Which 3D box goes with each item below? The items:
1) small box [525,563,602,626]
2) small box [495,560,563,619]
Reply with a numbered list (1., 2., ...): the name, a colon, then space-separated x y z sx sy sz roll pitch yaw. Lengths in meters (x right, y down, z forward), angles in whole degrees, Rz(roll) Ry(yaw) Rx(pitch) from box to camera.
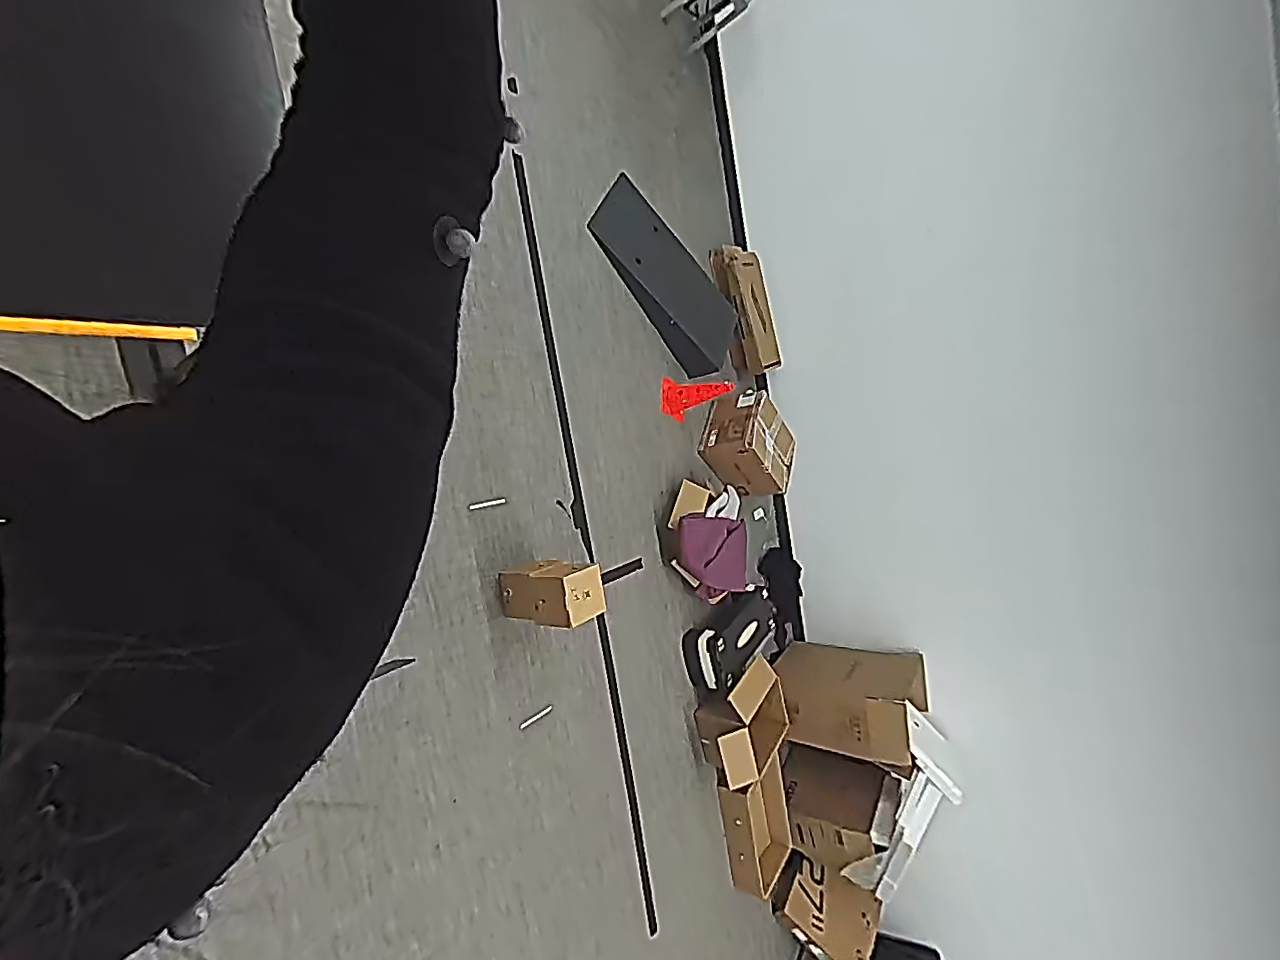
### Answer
1. small box: -0.254 0.374 1.802 0.179 0.176 0.168 -13 95 -53
2. small box: -0.381 0.379 1.908 0.179 0.176 0.168 -14 95 -52
